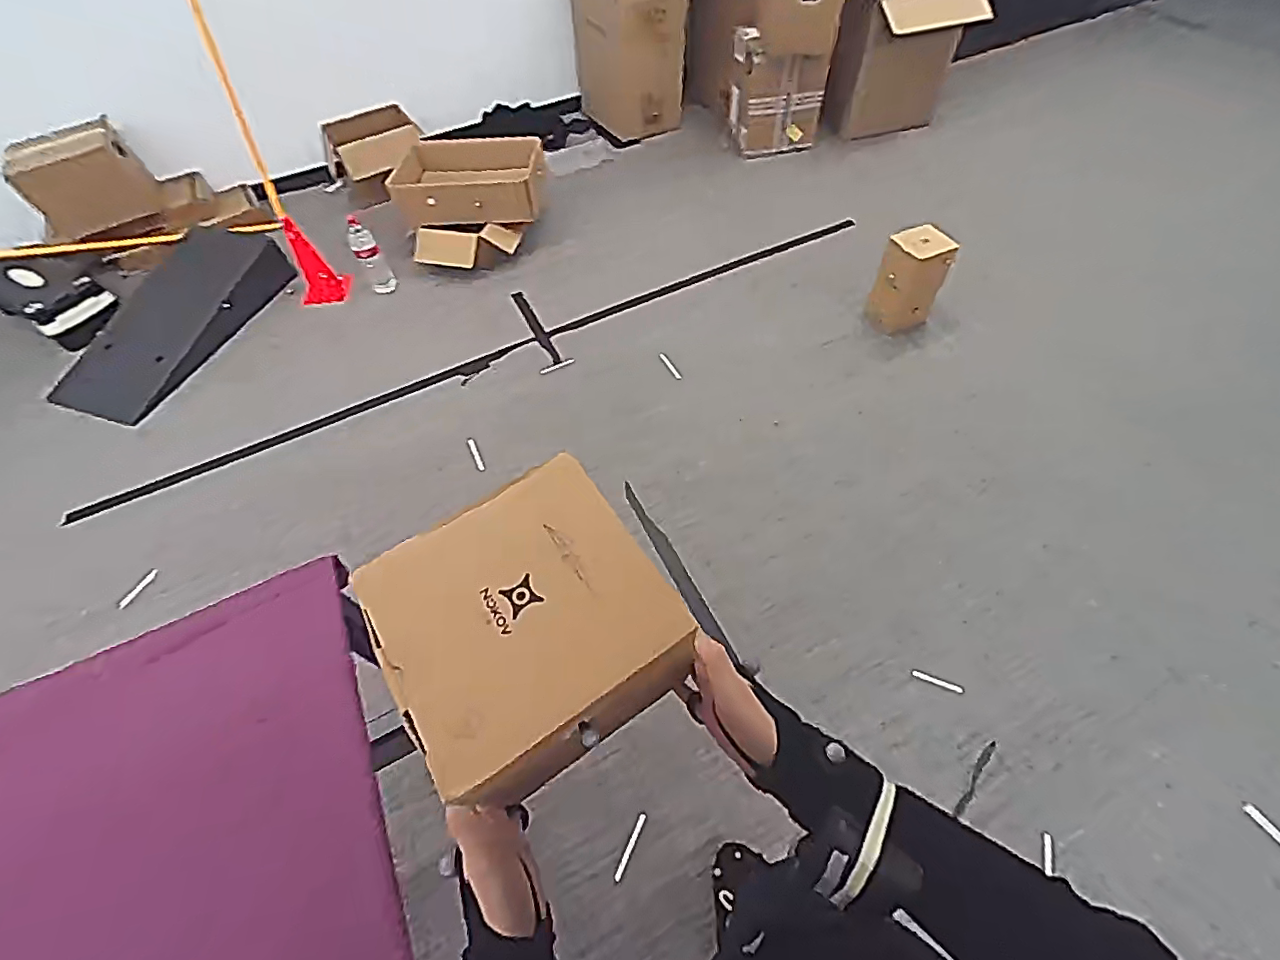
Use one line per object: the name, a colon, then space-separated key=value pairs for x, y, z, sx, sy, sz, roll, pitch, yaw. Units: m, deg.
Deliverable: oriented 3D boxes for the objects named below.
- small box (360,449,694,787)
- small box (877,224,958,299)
small box: x=-0.075 y=0.115 z=0.425 sx=0.179 sy=0.176 sz=0.168 roll=-31 pitch=64 yaw=-15
small box: x=1.007 y=-0.797 z=1.977 sx=0.179 sy=0.176 sz=0.168 roll=-21 pitch=56 yaw=-10
